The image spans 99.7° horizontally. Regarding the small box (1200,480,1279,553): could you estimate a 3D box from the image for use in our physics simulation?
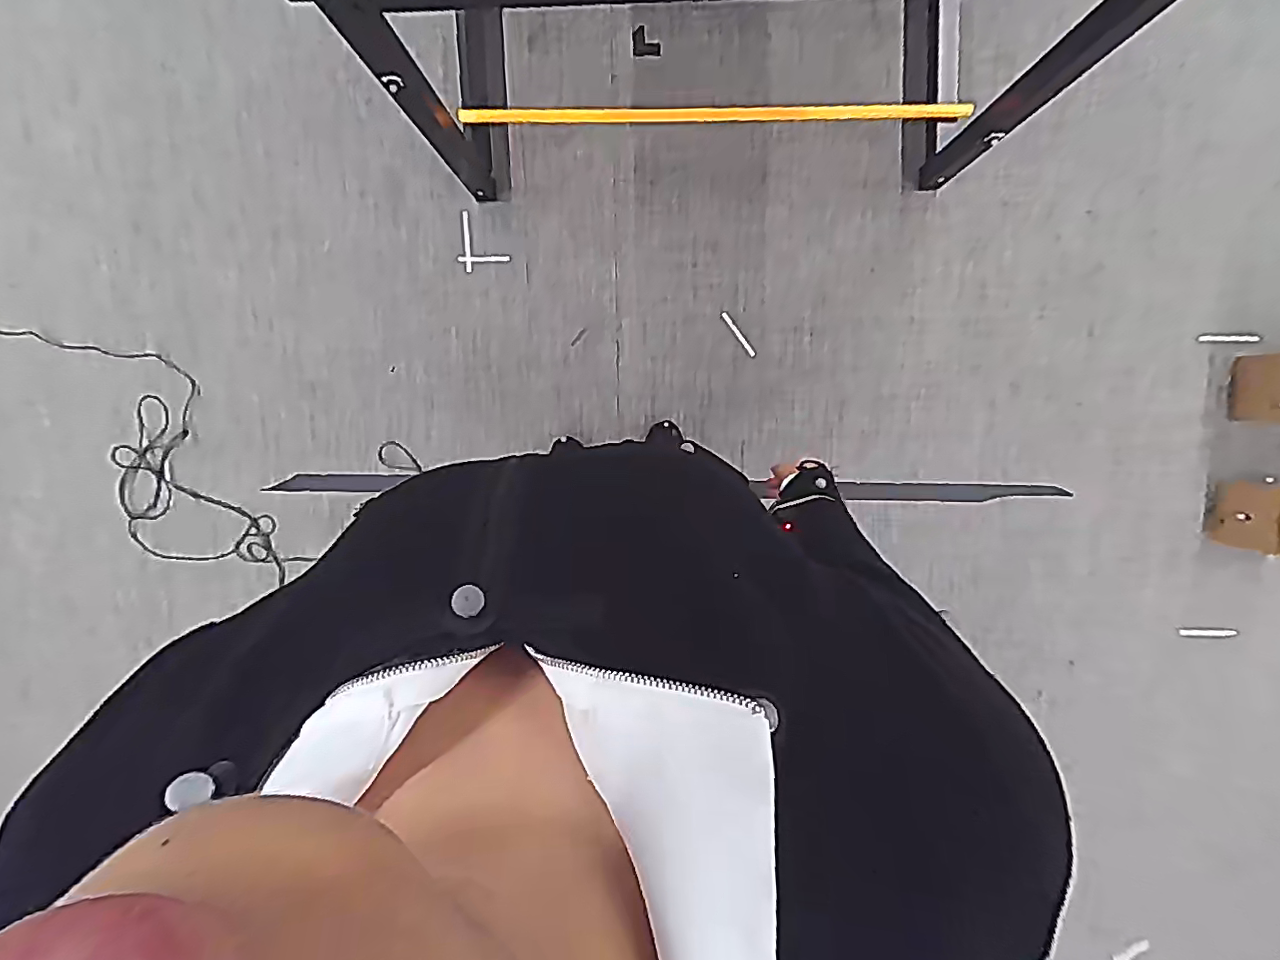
[{"bbox_3d":[1.625,0.093,1.400,0.179,0.176,0.168,1,98,2],"label":"small box"}]

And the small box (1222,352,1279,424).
[{"bbox_3d":[1.630,-0.231,1.355,0.168,0.176,0.179,-2,97,1],"label":"small box"}]
